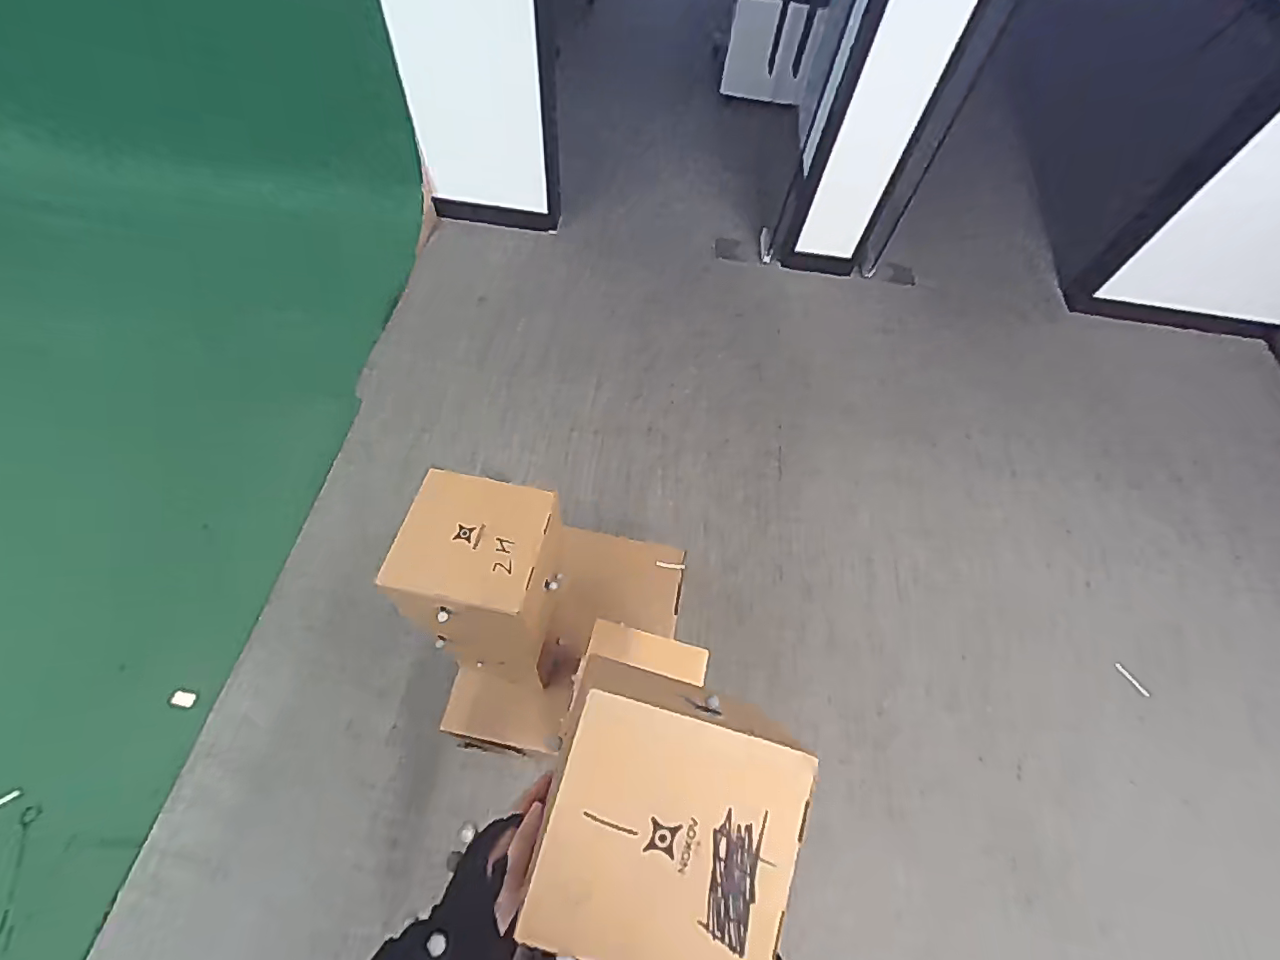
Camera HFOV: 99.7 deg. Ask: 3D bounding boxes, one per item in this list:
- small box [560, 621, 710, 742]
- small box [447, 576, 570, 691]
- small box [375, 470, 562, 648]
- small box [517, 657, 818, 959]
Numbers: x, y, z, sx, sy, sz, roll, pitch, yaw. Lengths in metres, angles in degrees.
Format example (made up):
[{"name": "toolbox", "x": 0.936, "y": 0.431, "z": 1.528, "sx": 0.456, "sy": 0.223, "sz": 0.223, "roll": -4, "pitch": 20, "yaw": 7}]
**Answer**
[{"name": "small box", "x": -0.011, "y": 0.333, "z": 0.810, "sx": 0.179, "sy": 0.176, "sz": 0.168, "roll": 15, "pitch": 59, "yaw": 2}, {"name": "small box", "x": -0.235, "y": 0.273, "z": 1.014, "sx": 0.168, "sy": 0.176, "sz": 0.179, "roll": 14, "pitch": 57, "yaw": 3}, {"name": "small box", "x": -0.211, "y": 0.113, "z": 0.726, "sx": 0.179, "sy": 0.176, "sz": 0.168, "roll": 12, "pitch": 58, "yaw": 3}, {"name": "small box", "x": 0.017, "y": 0.259, "z": 0.452, "sx": 0.179, "sy": 0.176, "sz": 0.168, "roll": 18, "pitch": 78, "yaw": -1}]
